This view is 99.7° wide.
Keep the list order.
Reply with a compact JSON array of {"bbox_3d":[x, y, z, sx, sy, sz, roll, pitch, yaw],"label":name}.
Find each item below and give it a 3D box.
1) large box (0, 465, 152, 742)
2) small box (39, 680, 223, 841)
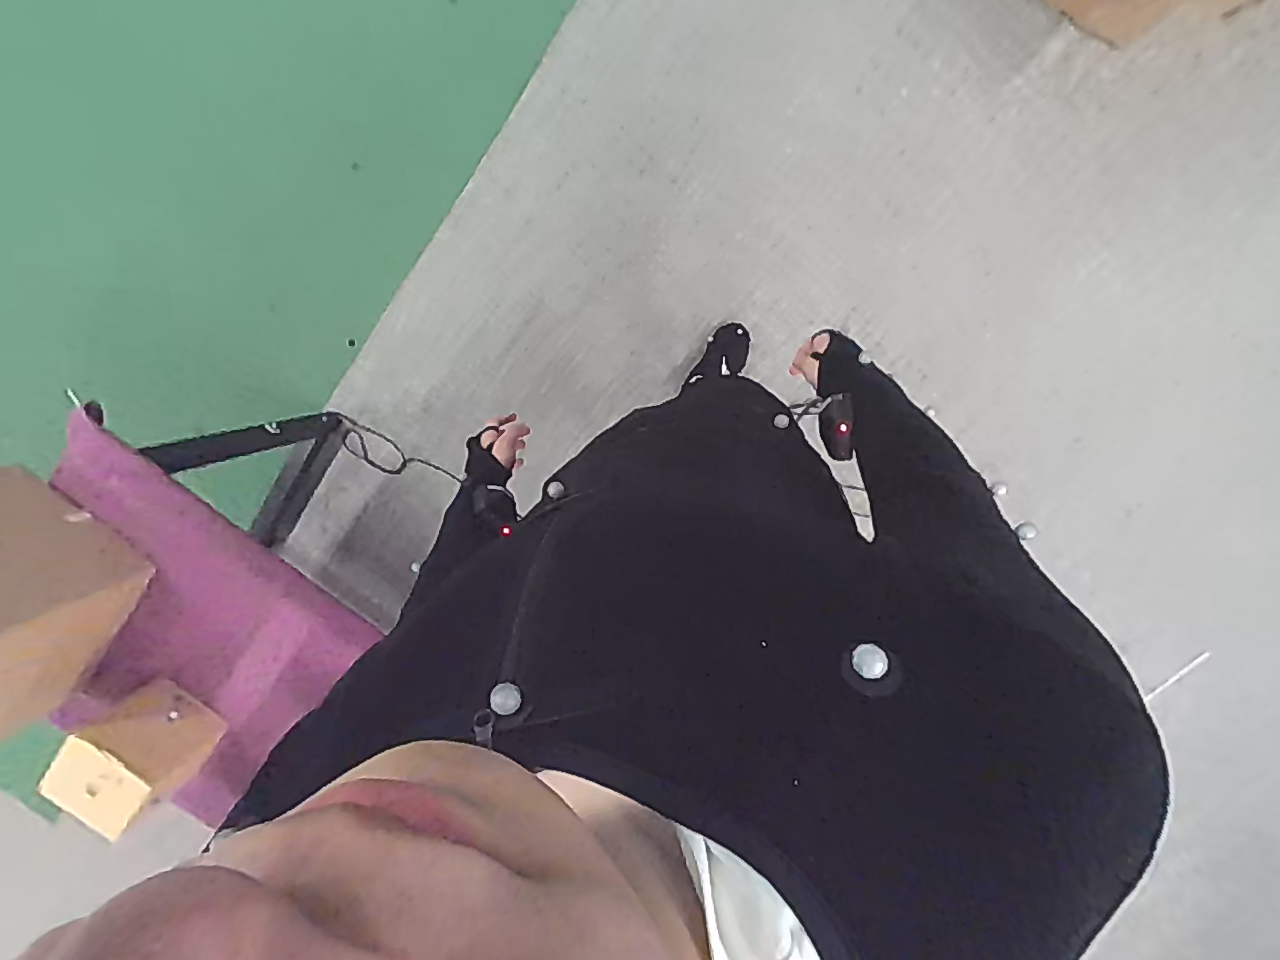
[{"bbox_3d":[-1.164,0.243,0.911,0.320,0.320,0.408,39,104,-7],"label":"large box"},{"bbox_3d":[-0.959,0.528,1.034,0.168,0.176,0.179,39,105,-5],"label":"small box"}]
